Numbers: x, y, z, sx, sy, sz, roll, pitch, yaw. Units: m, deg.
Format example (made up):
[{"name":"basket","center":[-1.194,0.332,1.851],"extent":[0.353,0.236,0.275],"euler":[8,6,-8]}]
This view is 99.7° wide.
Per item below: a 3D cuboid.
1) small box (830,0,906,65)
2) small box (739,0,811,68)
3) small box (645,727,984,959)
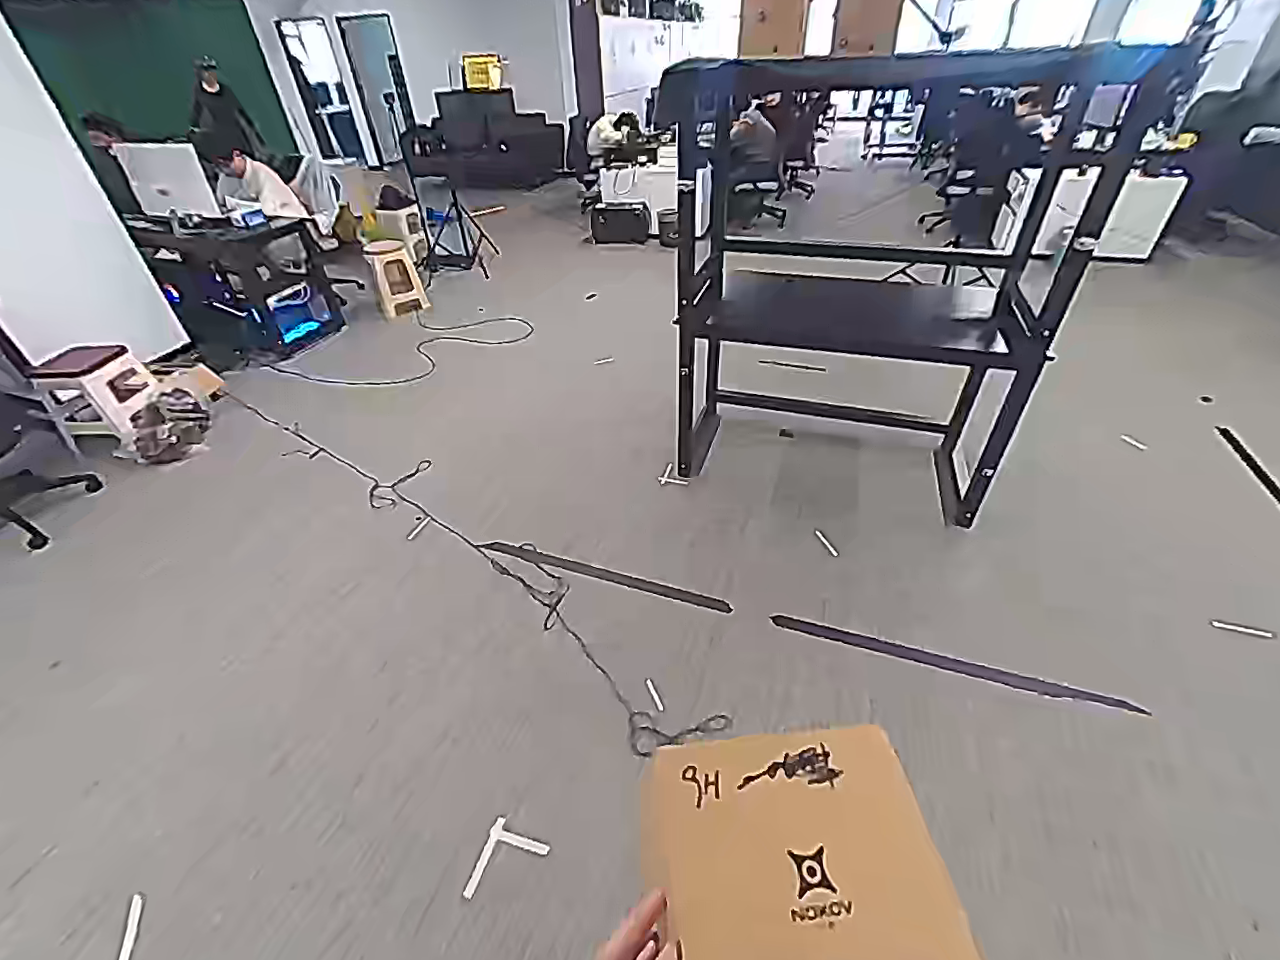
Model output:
[{"name":"small box","center":[0.606,-1.211,1.427],"extent":[0.168,0.176,0.179],"euler":[11,38,18]},{"name":"small box","center":[0.368,-1.238,1.477],"extent":[0.168,0.176,0.179],"euler":[11,38,15]},{"name":"small box","center":[0.097,0.293,0.367],"extent":[0.168,0.176,0.179],"euler":[-2,45,-7]}]
